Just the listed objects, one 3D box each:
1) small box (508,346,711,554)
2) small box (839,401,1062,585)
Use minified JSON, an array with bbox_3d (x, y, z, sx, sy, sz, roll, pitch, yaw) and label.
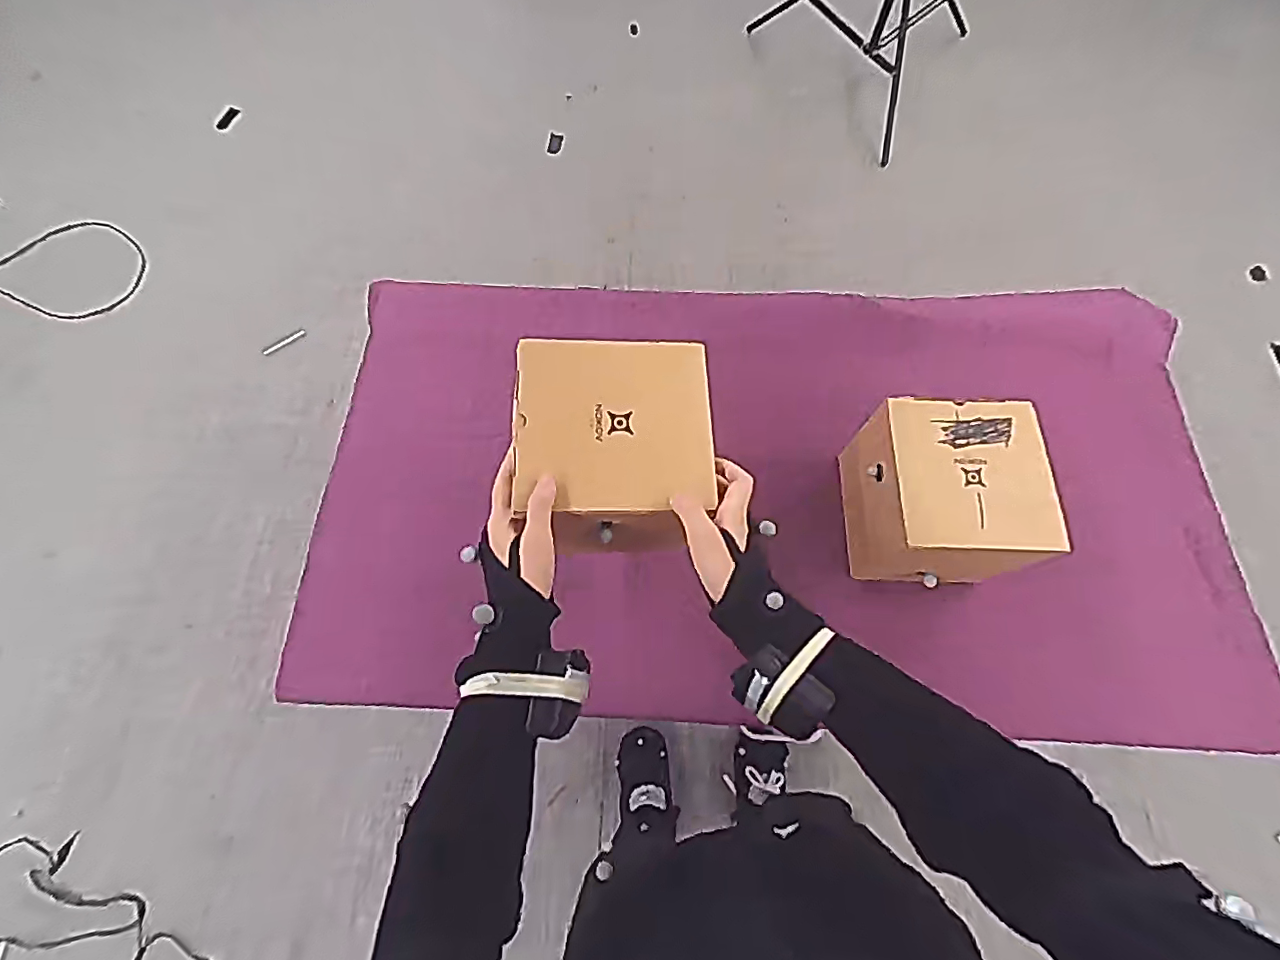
[{"bbox_3d":[-0.034,-0.020,0.557,0.179,0.176,0.168,-1,71,-5],"label":"small box"},{"bbox_3d":[0.353,0.022,0.657,0.168,0.176,0.179,2,69,2],"label":"small box"}]
